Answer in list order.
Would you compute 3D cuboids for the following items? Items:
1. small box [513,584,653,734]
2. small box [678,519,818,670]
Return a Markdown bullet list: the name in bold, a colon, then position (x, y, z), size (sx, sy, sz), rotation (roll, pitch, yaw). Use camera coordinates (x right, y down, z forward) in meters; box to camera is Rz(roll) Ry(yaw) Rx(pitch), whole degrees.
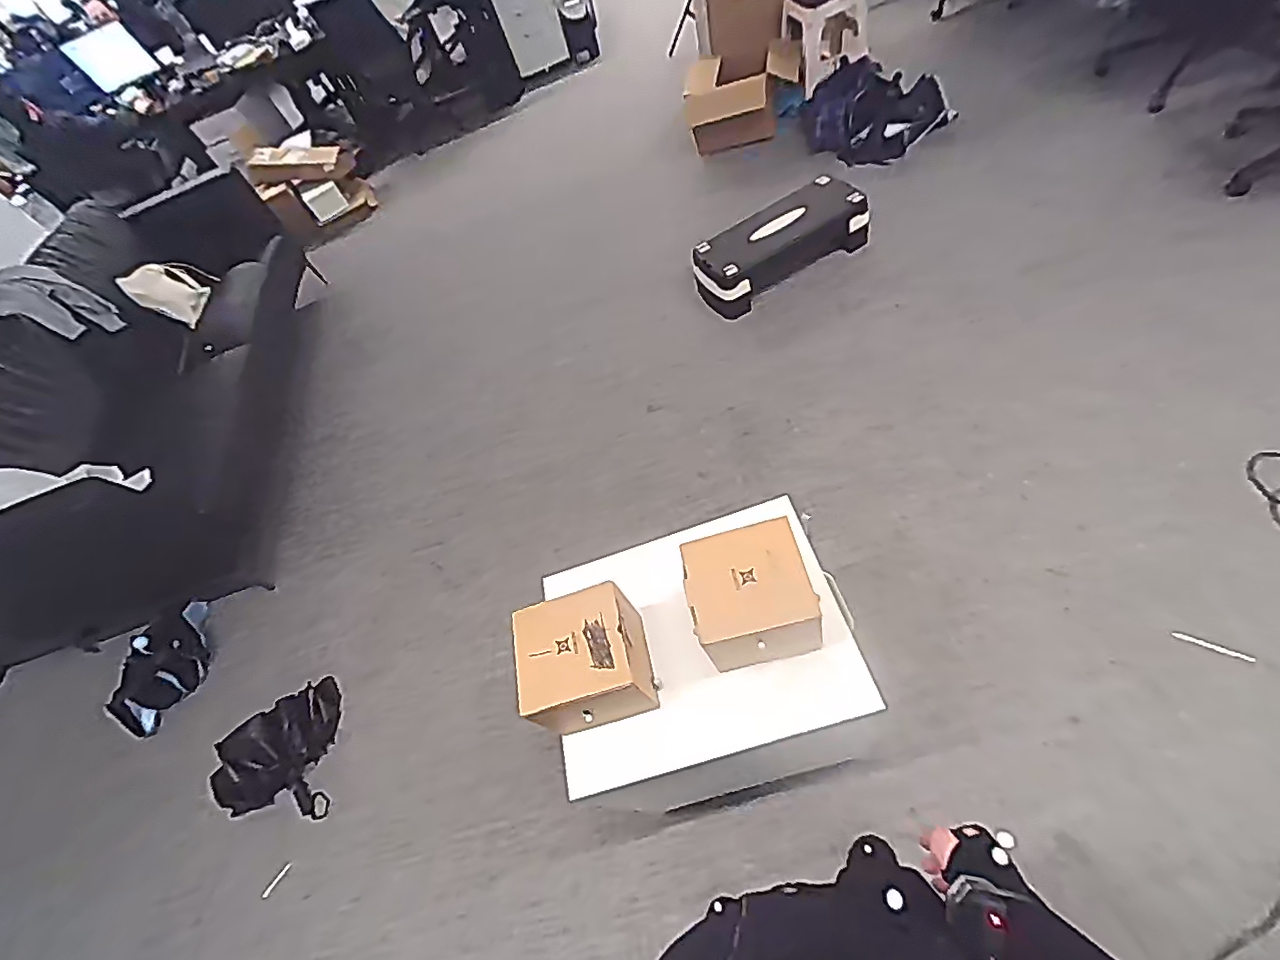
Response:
- **small box**: position (-0.087, 0.295, 0.877), size (0.179, 0.176, 0.168), rotation (-19, 53, 6)
- **small box**: position (0.175, 0.189, 0.860), size (0.179, 0.176, 0.168), rotation (-16, 55, 8)
